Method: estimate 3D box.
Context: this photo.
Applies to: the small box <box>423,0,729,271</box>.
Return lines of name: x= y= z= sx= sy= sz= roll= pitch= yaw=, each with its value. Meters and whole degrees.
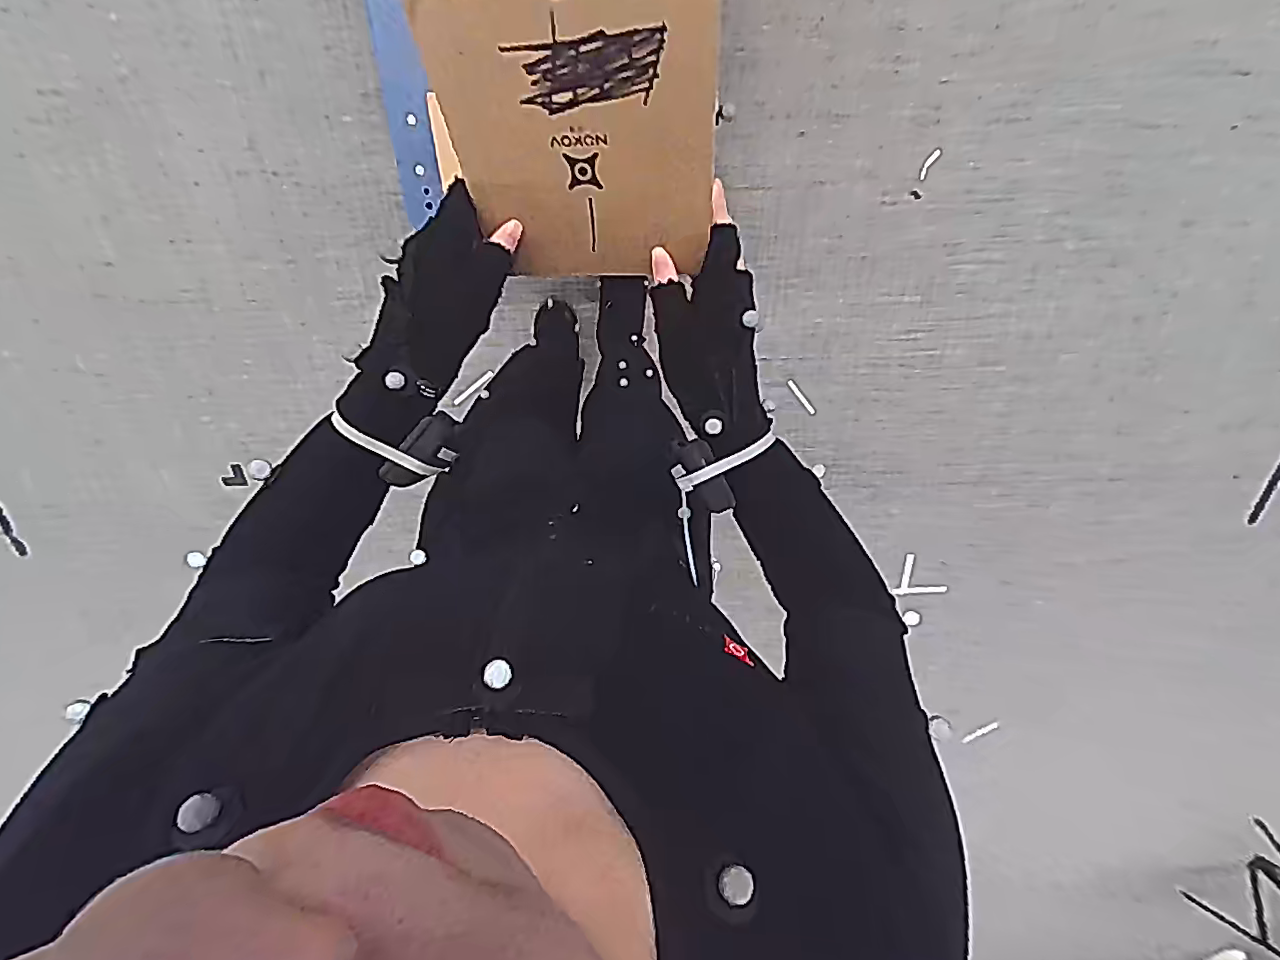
small box: x=-0.025 y=-0.277 z=0.390 sx=0.168 sy=0.176 sz=0.179 roll=2 pitch=147 yaw=6

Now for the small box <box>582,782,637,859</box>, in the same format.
small box: x=-0.104 y=1.190 z=1.900 sx=0.168 sy=0.176 sz=0.179 roll=-8 pitch=117 yaw=5

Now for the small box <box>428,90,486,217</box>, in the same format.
small box: x=-0.241 y=-0.559 z=0.936 sx=0.168 sy=0.176 sz=0.179 roll=-2 pitch=117 yaw=0
